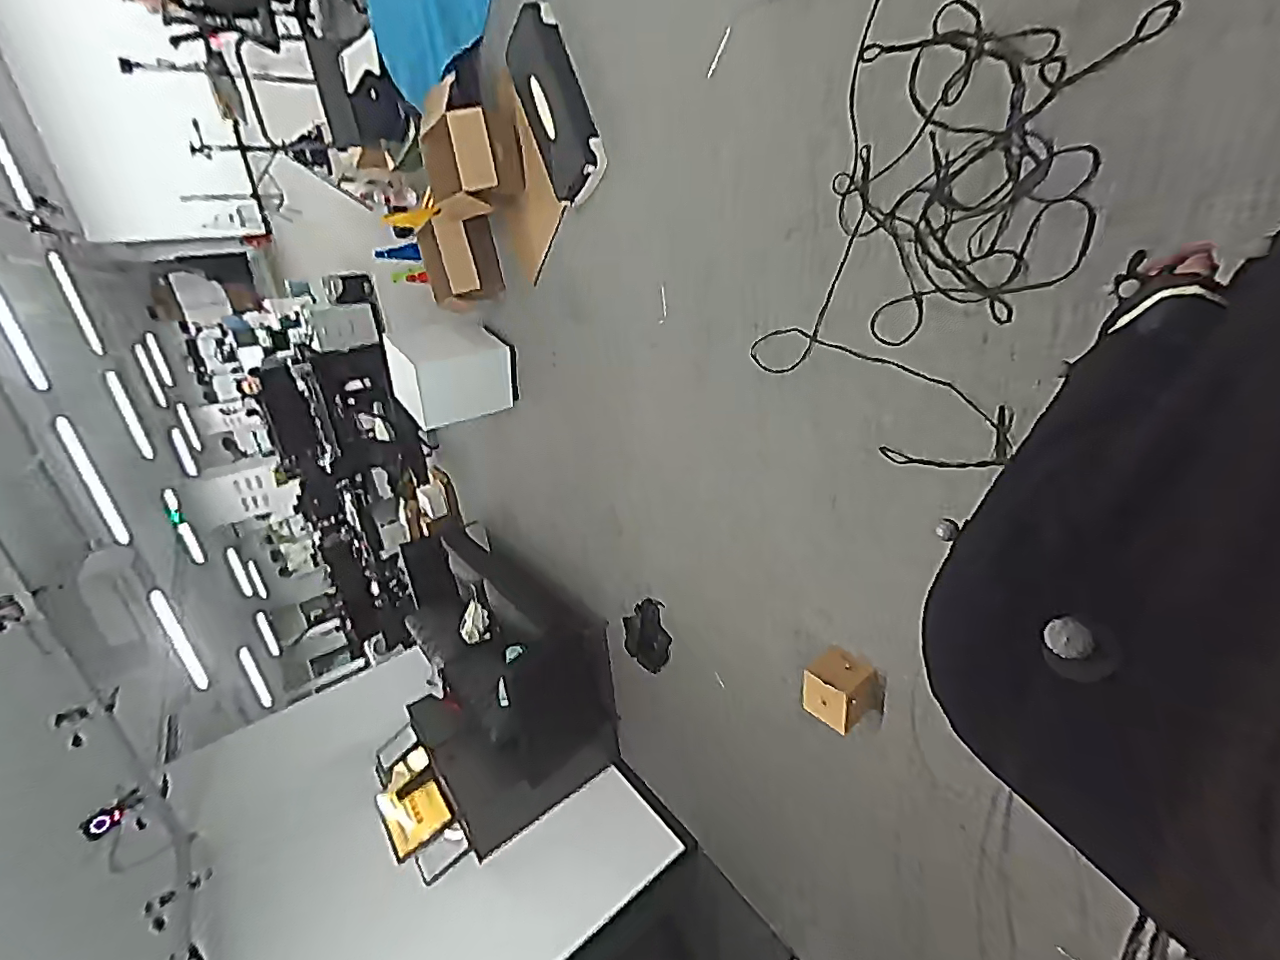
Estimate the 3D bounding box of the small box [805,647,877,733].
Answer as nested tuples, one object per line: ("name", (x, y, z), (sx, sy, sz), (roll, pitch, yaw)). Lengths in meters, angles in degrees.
("small box", (0.685, 0.711, 1.843), (0.168, 0.176, 0.179), (22, 125, 49))
